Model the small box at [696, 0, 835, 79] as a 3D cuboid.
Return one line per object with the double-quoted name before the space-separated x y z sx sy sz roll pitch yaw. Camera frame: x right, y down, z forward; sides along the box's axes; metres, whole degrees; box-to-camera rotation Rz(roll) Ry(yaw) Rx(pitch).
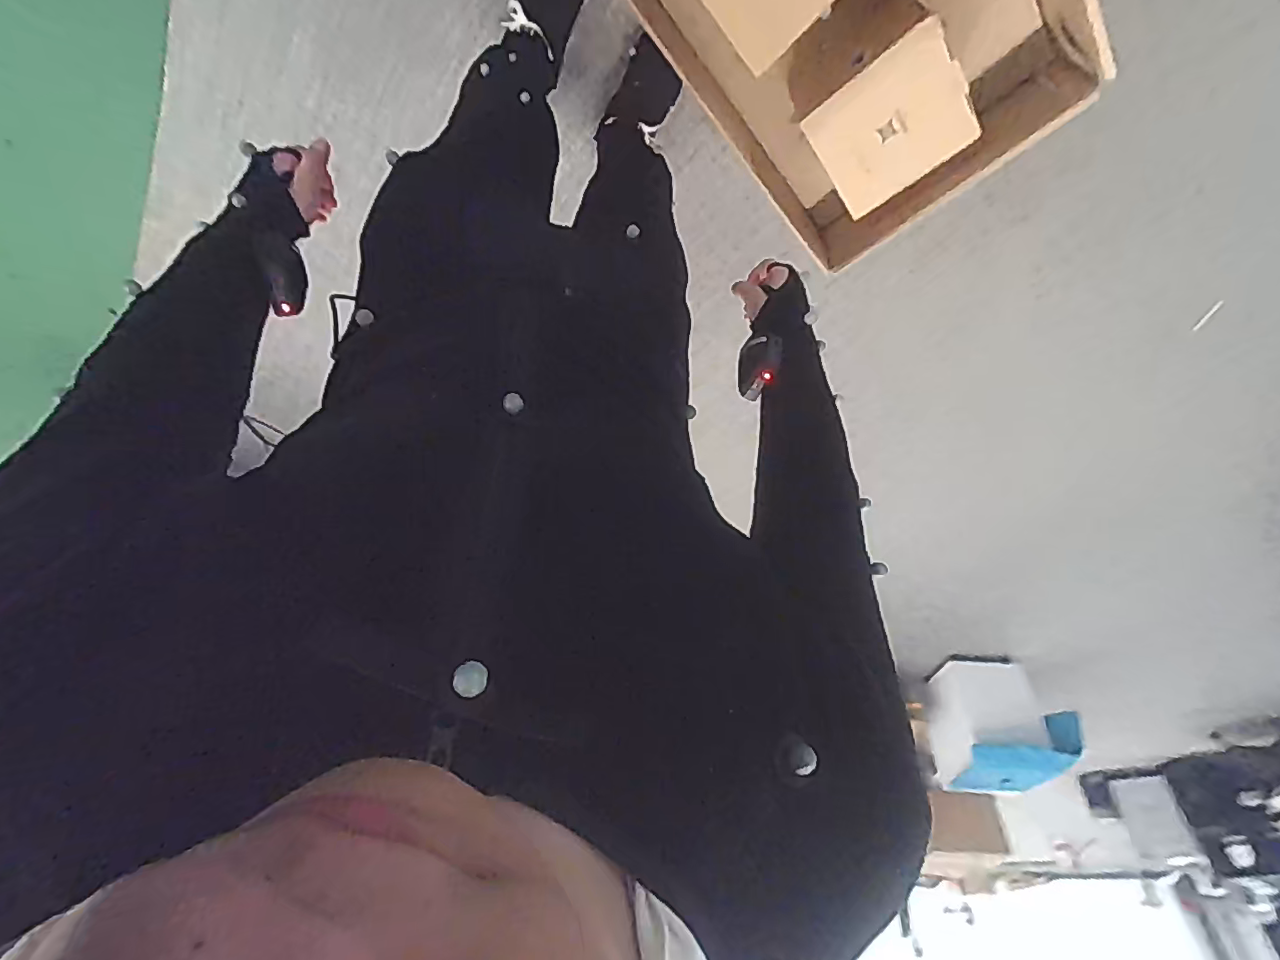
"small box" 0.124 -0.535 0.502 0.179 0.176 0.168 -29 130 35
